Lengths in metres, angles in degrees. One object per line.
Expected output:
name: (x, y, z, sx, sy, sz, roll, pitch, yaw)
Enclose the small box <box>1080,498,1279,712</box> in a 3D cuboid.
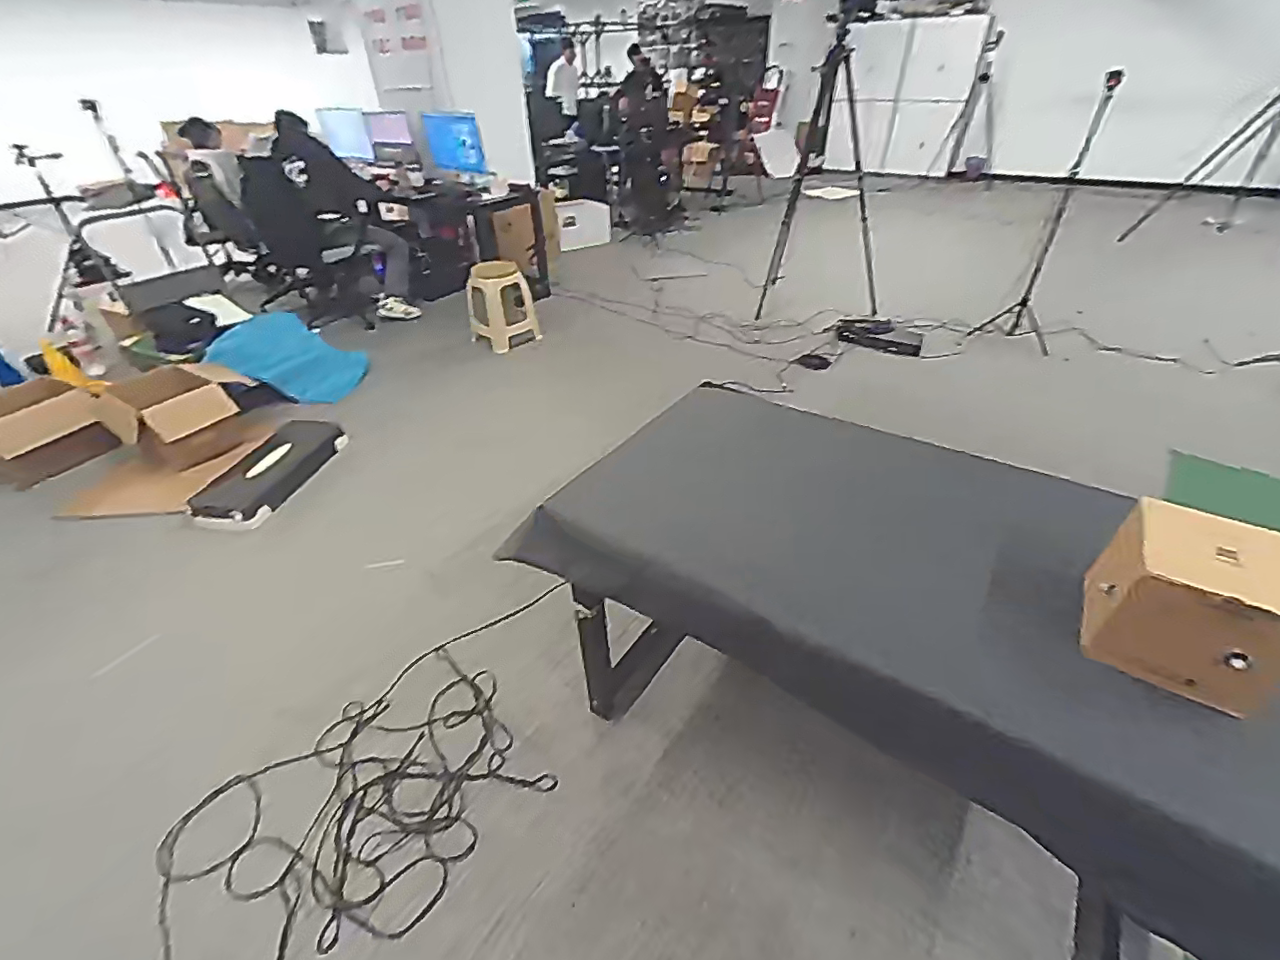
small box: (0.704, 0.157, 0.697, 0.168, 0.176, 0.179, 22, 42, 27)
